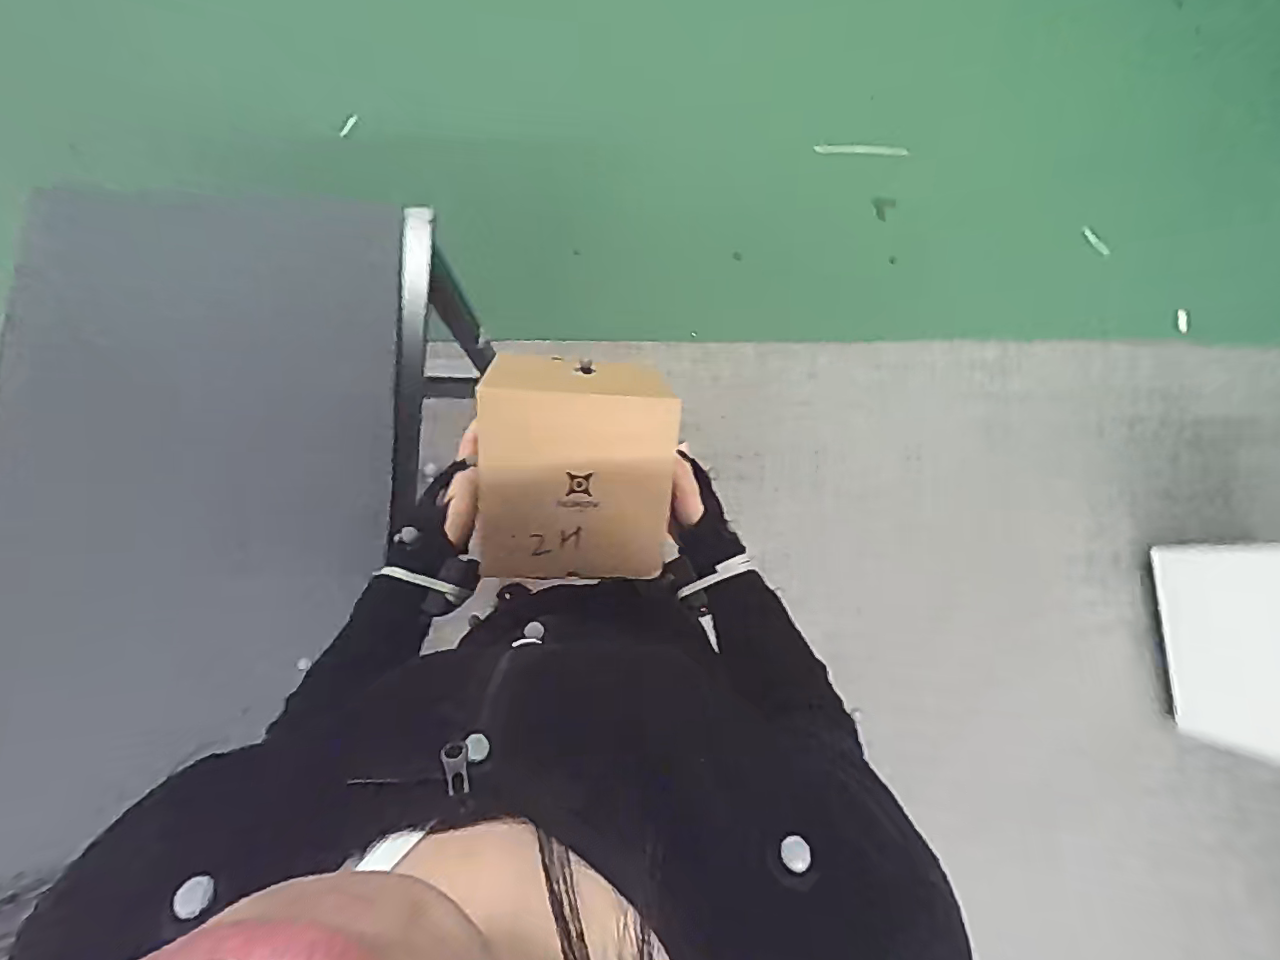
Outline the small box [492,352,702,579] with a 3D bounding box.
[{"bbox_3d":[-0.049,-0.023,0.522,0.168,0.176,0.179,3,111,-9],"label":"small box"}]
